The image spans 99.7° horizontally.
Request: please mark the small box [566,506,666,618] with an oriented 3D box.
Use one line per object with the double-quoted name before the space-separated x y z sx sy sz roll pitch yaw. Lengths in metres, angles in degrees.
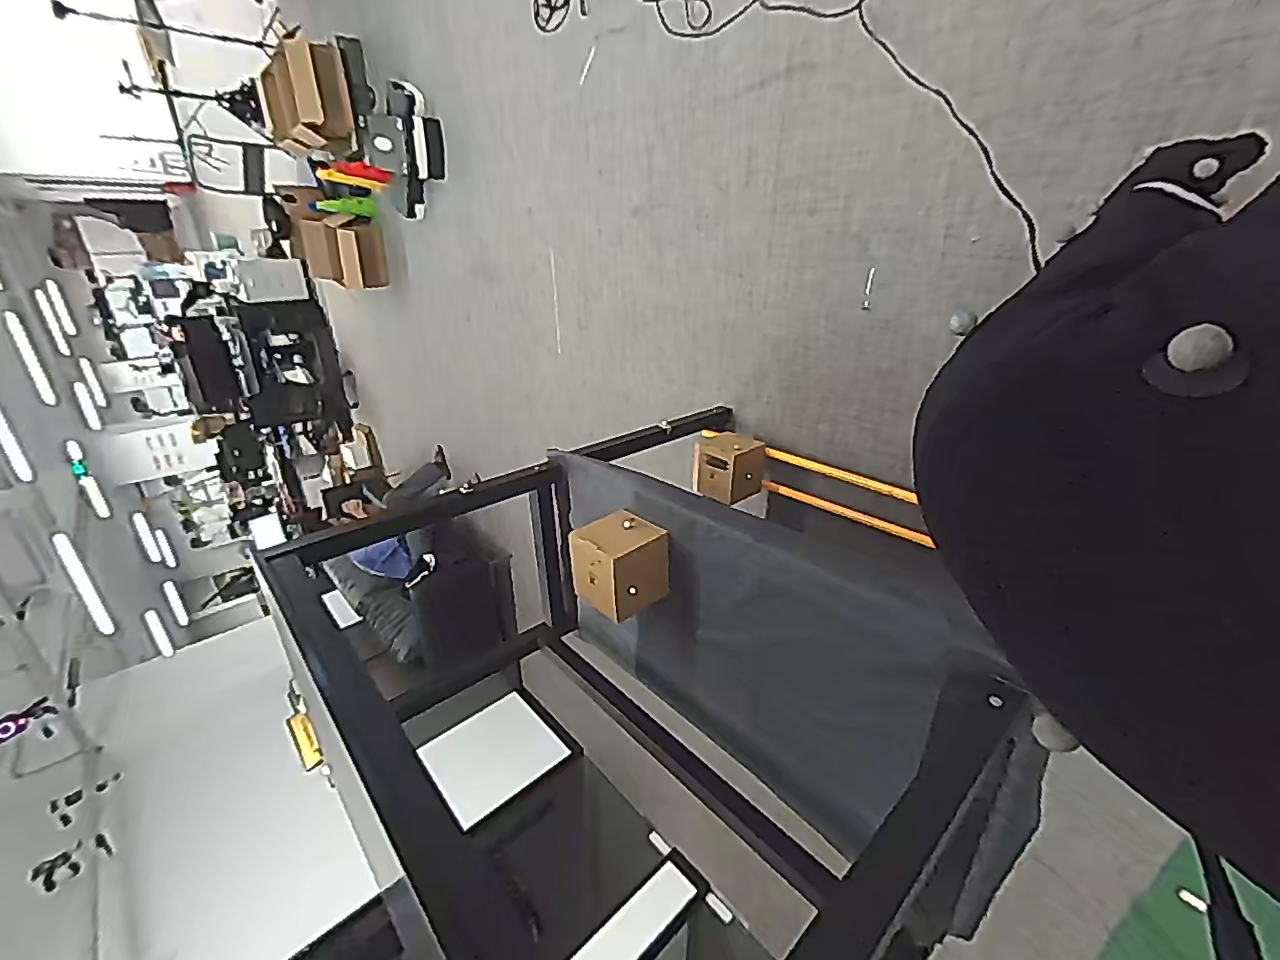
"small box" -0.052 0.185 1.273 0.168 0.176 0.179 22 124 42
